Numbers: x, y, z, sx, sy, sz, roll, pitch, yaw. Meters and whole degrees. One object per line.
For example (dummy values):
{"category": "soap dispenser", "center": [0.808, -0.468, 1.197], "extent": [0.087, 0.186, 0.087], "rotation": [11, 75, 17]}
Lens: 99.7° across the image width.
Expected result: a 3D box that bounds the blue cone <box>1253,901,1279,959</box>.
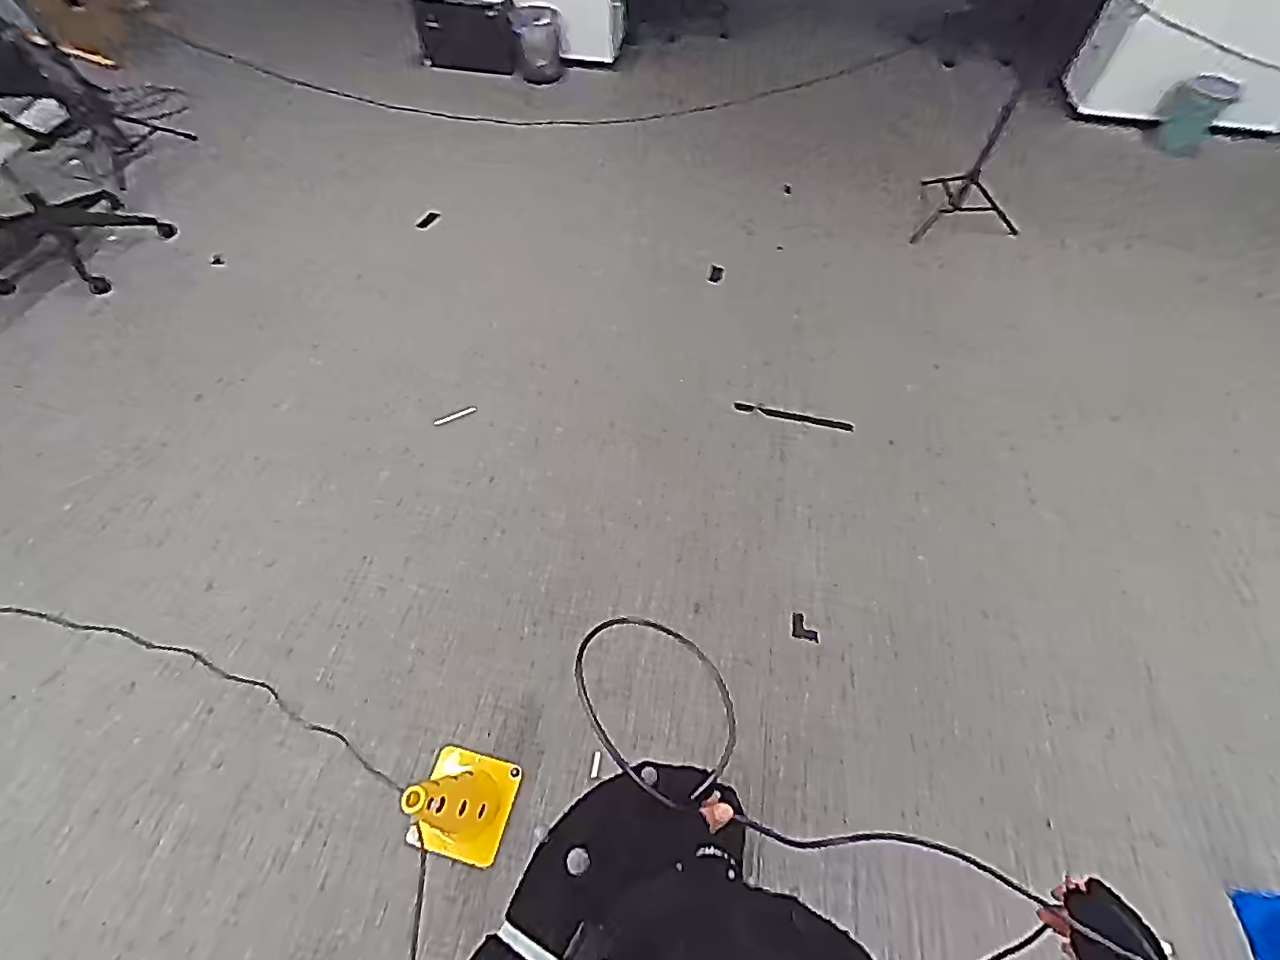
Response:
{"category": "blue cone", "center": [1.354, 0.879, 0.939], "extent": [0.193, 0.380, 0.192], "rotation": [6, 58, 2]}
